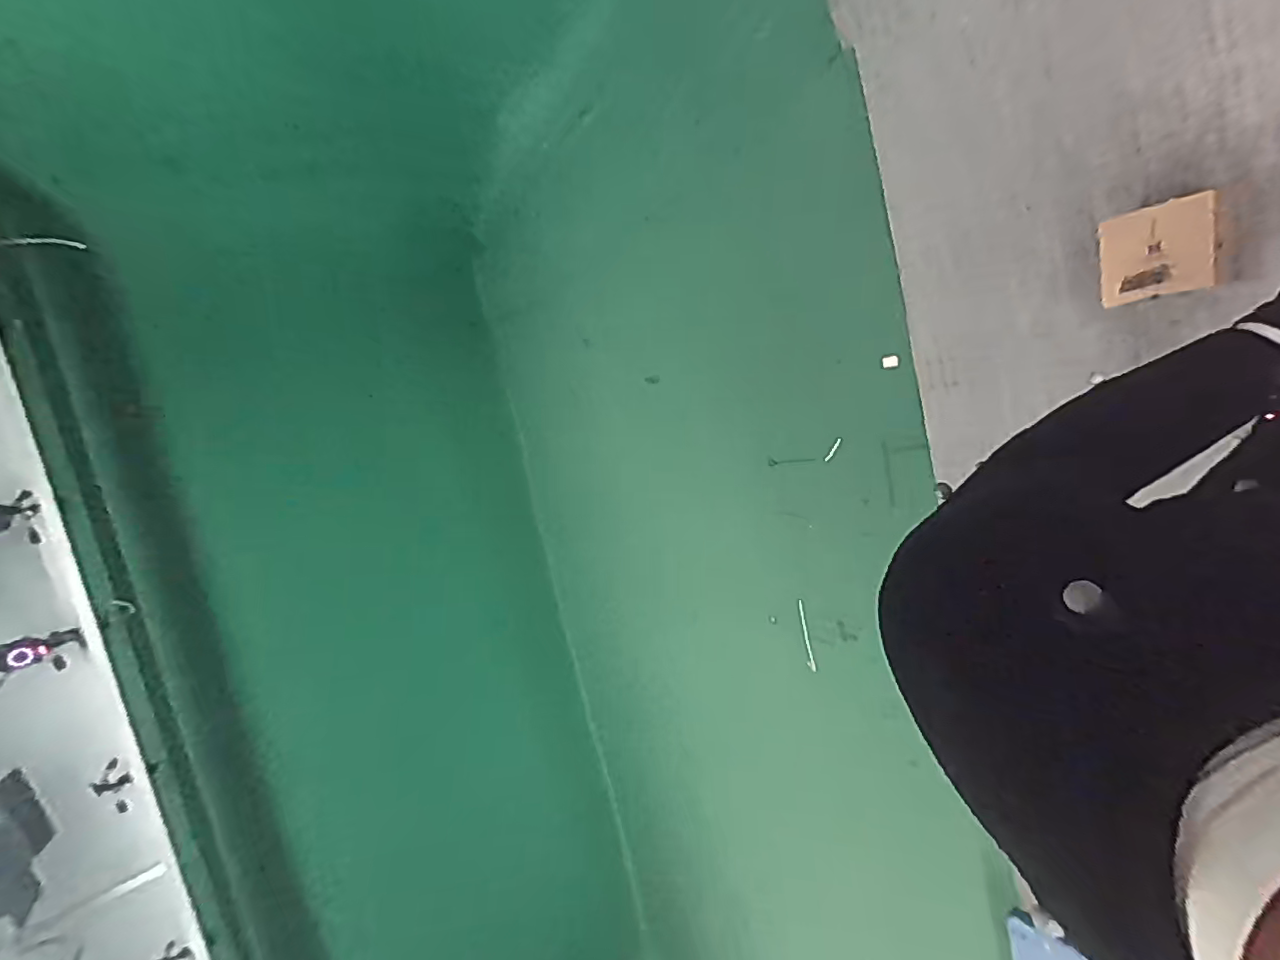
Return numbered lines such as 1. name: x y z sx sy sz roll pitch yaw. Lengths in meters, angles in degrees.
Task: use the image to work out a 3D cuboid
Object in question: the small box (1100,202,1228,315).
1. small box: 1.078 -0.450 1.113 0.168 0.176 0.179 3 105 54
